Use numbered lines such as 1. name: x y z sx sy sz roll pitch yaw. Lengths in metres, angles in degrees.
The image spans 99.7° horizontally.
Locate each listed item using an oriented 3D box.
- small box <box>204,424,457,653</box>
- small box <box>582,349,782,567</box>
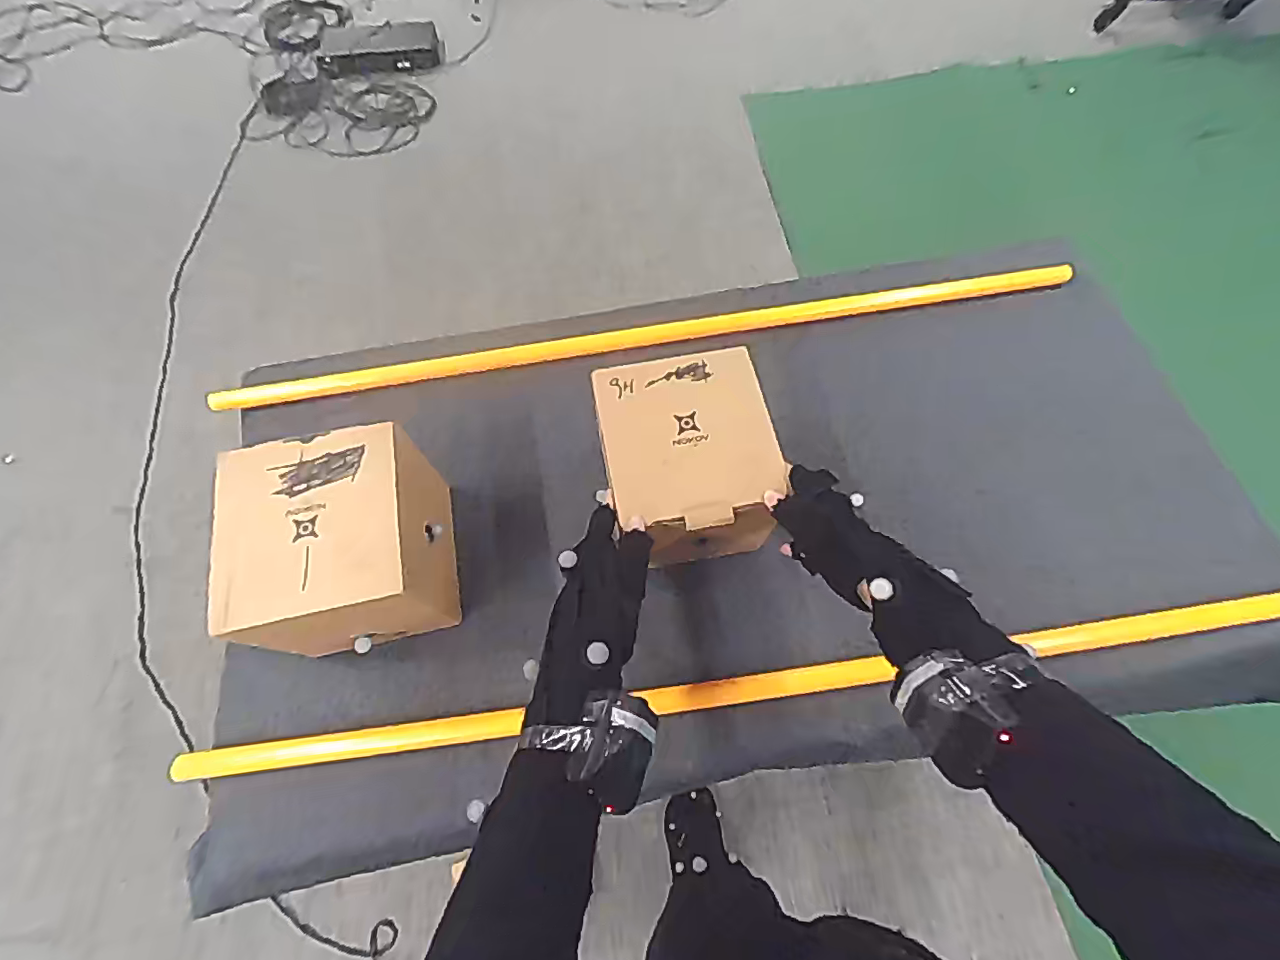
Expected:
1. small box: -0.301 0.068 0.564 0.168 0.176 0.179 -12 67 -5
2. small box: 0.040 -0.012 0.602 0.168 0.176 0.179 -13 67 -4
